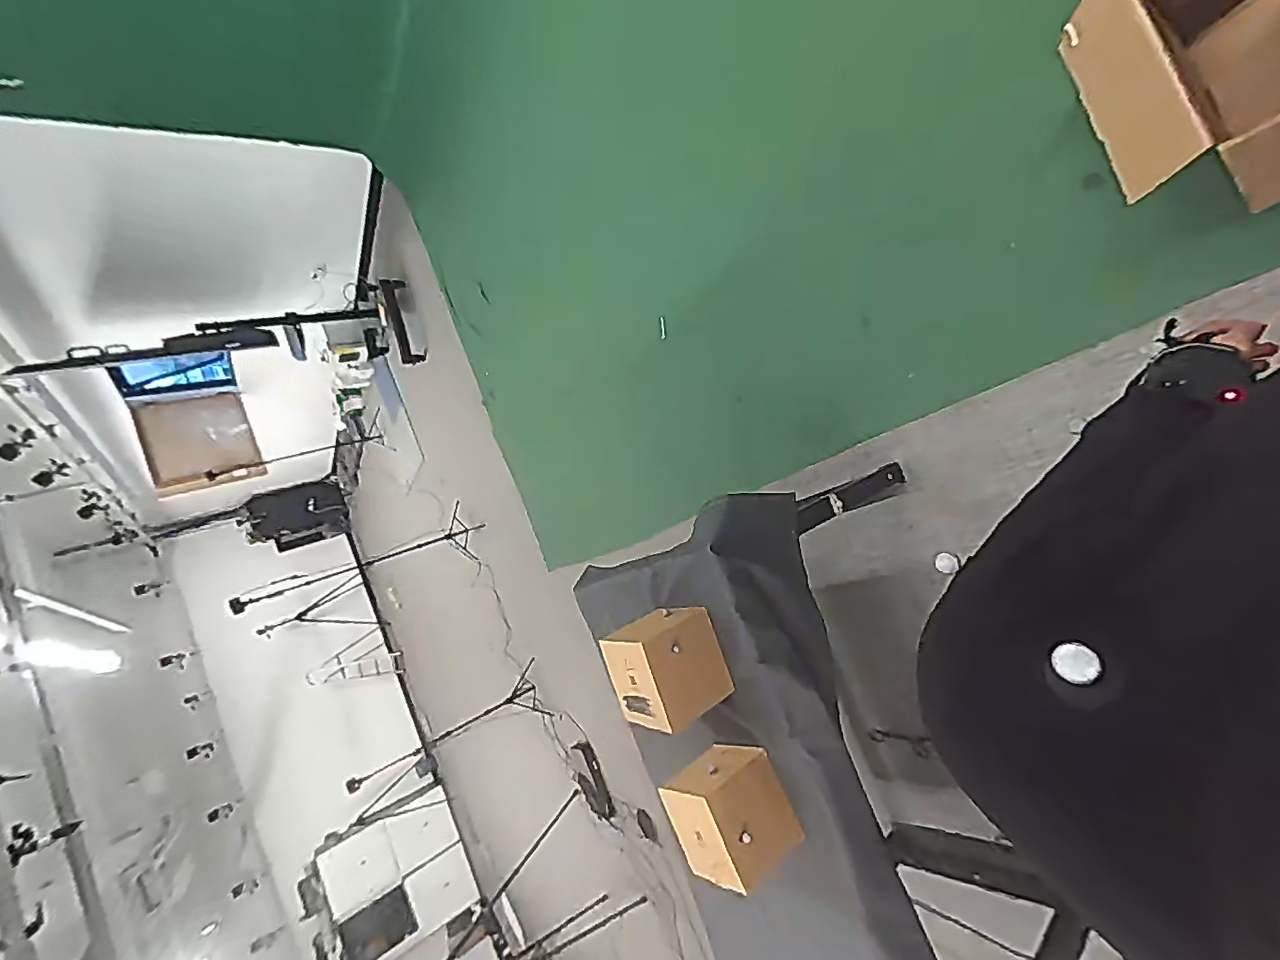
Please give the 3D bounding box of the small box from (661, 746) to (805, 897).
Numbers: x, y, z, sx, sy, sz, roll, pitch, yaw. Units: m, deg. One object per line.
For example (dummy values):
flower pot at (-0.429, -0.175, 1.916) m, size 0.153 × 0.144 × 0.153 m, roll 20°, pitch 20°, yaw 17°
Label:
small box at (0.178, 0.635, 1.036) m, size 0.168 × 0.176 × 0.179 m, roll -36°, pitch 77°, yaw 53°
